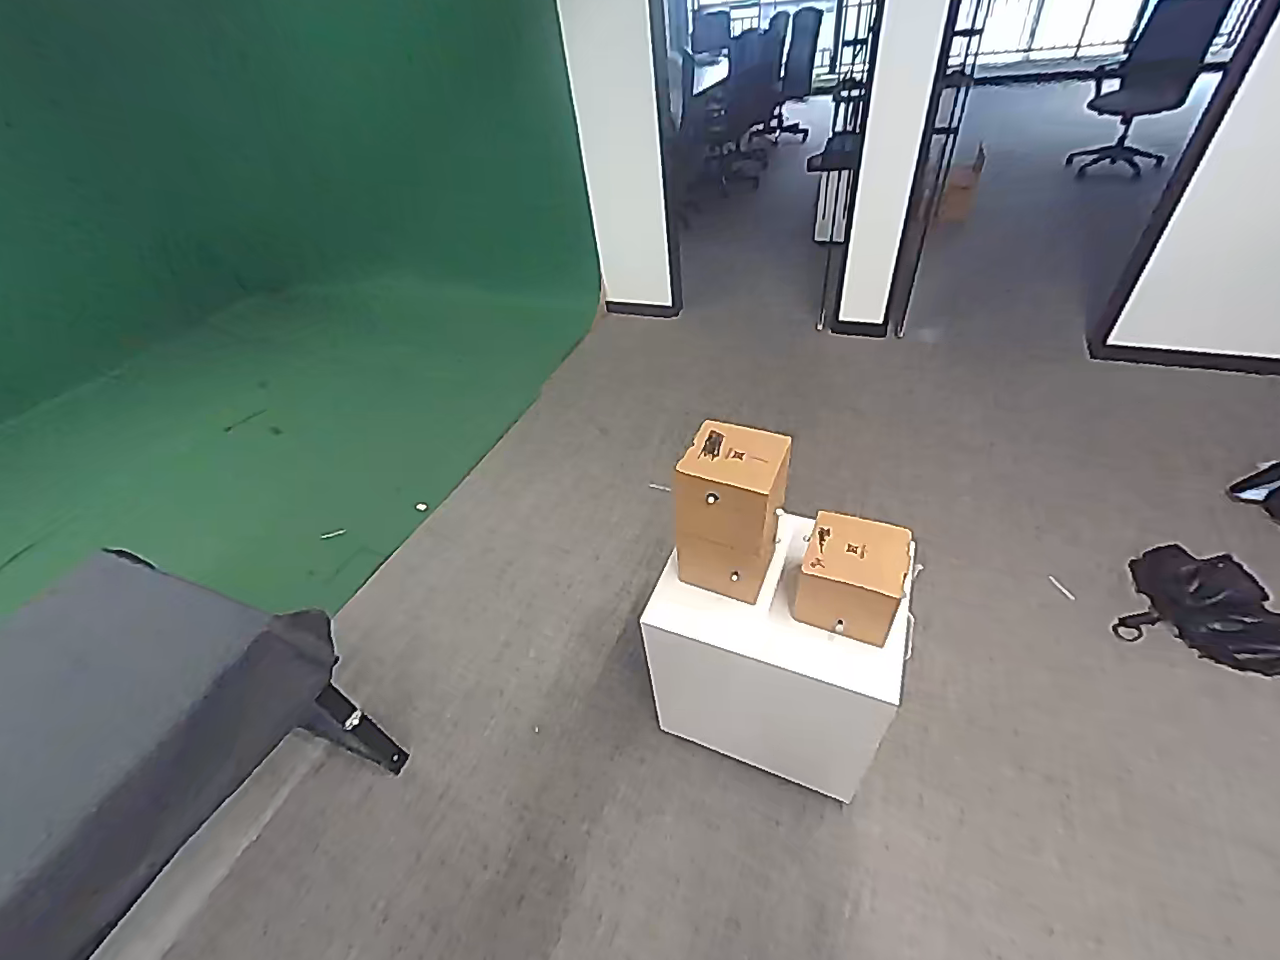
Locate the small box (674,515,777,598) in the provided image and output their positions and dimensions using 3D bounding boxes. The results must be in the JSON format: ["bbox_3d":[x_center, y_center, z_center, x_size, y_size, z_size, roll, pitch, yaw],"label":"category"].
[{"bbox_3d":[0.186,0.126,1.154,0.179,0.176,0.168,14,46,21],"label":"small box"}]

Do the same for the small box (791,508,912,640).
[{"bbox_3d":[0.409,0.188,1.060,0.179,0.176,0.168,15,48,21],"label":"small box"}]

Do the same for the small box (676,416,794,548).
[{"bbox_3d":[0.180,0.005,1.043,0.179,0.176,0.168,16,47,20],"label":"small box"}]
